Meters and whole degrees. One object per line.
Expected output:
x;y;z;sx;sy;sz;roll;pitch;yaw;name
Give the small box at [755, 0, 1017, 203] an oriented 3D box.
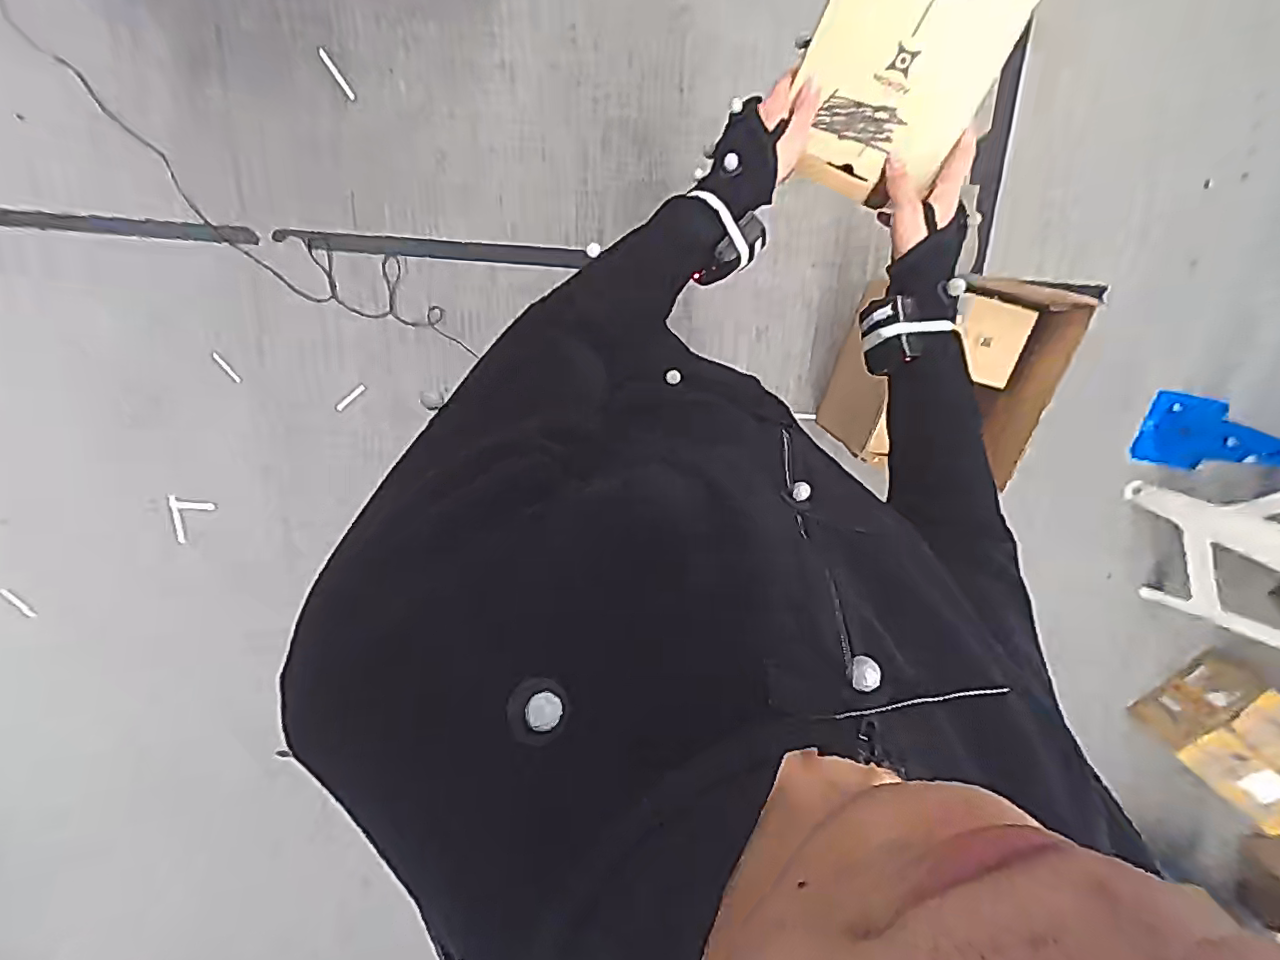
0.232;-0.409;0.566;0.168;0.176;0.179;22;116;-1;small box
